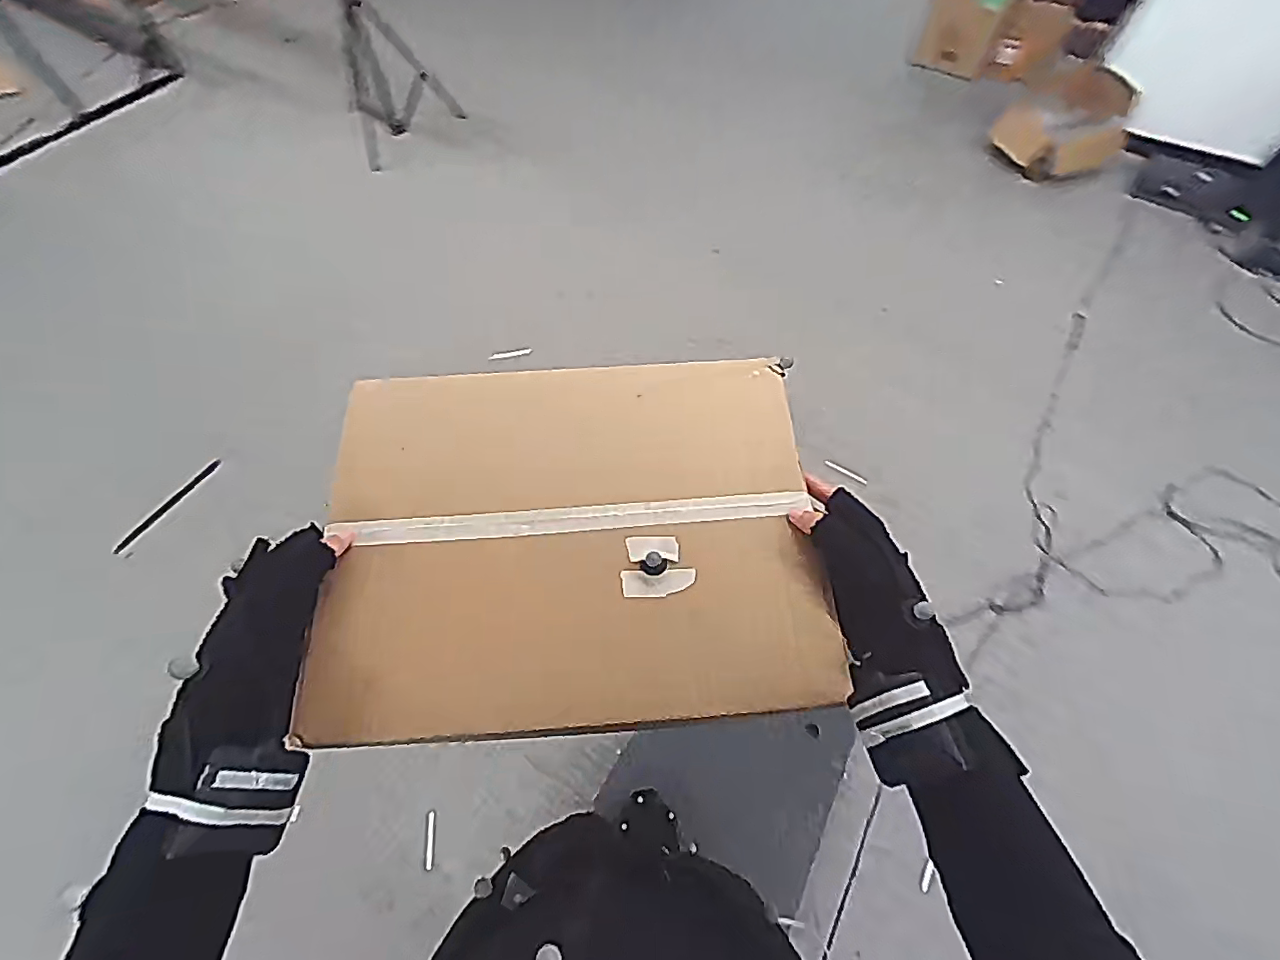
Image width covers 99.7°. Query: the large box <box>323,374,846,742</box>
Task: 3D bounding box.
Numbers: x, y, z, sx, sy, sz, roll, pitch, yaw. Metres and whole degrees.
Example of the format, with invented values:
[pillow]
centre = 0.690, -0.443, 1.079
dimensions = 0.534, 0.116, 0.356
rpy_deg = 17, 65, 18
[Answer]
[large box]
centre = -0.050, 0.107, 0.603
dimensions = 0.408, 0.320, 0.320
rpy_deg = -3, 65, -2
